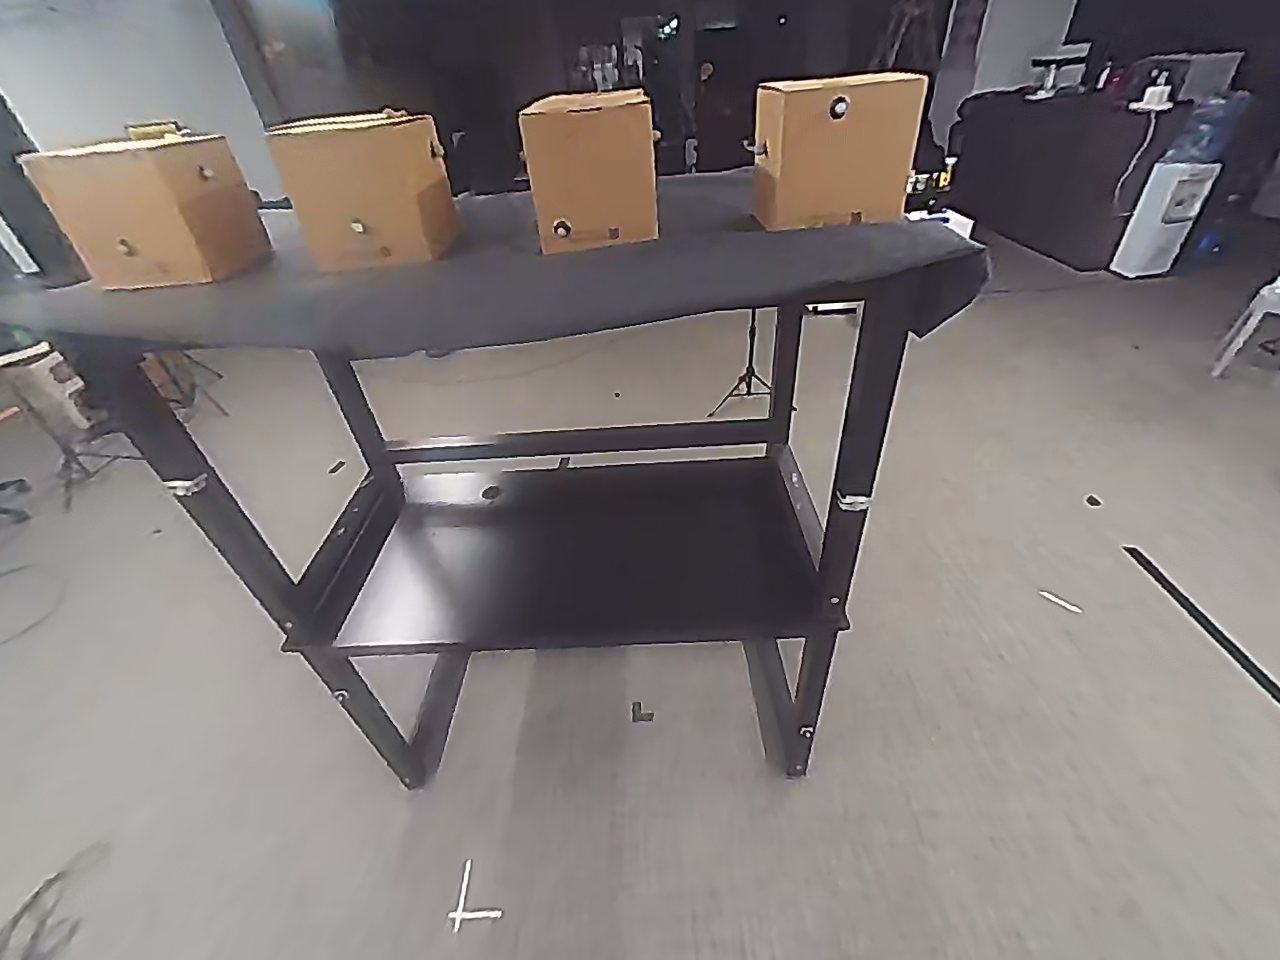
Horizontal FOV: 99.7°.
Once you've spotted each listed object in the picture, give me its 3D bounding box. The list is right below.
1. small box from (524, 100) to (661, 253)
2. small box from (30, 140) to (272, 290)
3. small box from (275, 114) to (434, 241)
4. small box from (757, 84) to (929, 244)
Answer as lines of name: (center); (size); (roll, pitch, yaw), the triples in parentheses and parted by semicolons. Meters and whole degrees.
small box: (-0.059, -0.433, 0.780); (0.168, 0.176, 0.179); (-4, 37, 1)
small box: (-0.680, -0.387, 0.787); (0.168, 0.176, 0.179); (-4, 37, 0)
small box: (-0.488, -0.538, 0.962); (0.179, 0.176, 0.168); (-5, 38, 0)
small box: (0.259, -0.431, 0.740); (0.168, 0.176, 0.179); (-4, 37, 2)
